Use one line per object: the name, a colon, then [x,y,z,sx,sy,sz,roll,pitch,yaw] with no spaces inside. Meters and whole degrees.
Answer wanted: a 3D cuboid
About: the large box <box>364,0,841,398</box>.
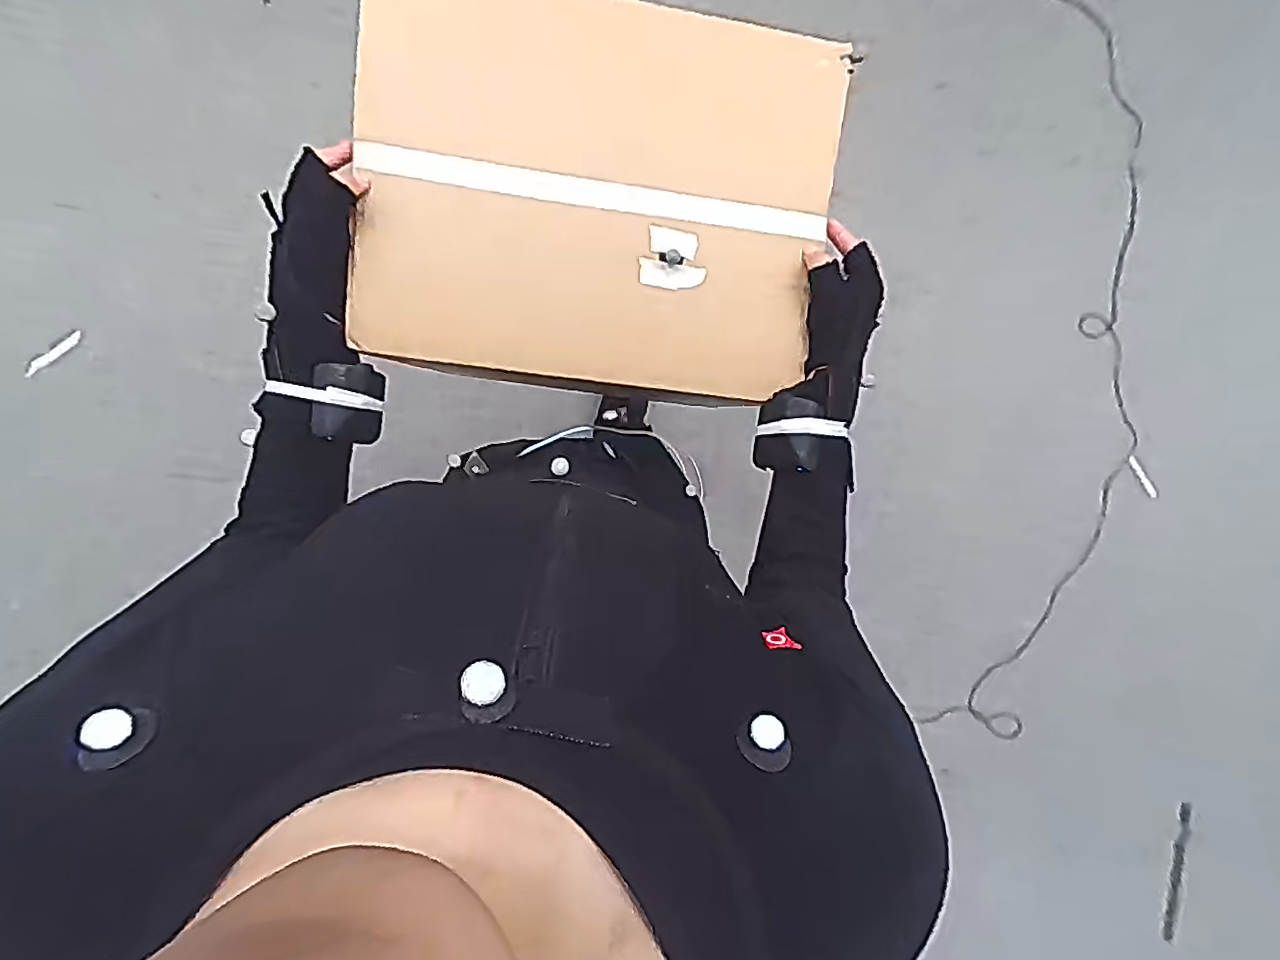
large box: [-0.049,-0.270,0.620,0.408,0.320,0.320,6,98,-8]
